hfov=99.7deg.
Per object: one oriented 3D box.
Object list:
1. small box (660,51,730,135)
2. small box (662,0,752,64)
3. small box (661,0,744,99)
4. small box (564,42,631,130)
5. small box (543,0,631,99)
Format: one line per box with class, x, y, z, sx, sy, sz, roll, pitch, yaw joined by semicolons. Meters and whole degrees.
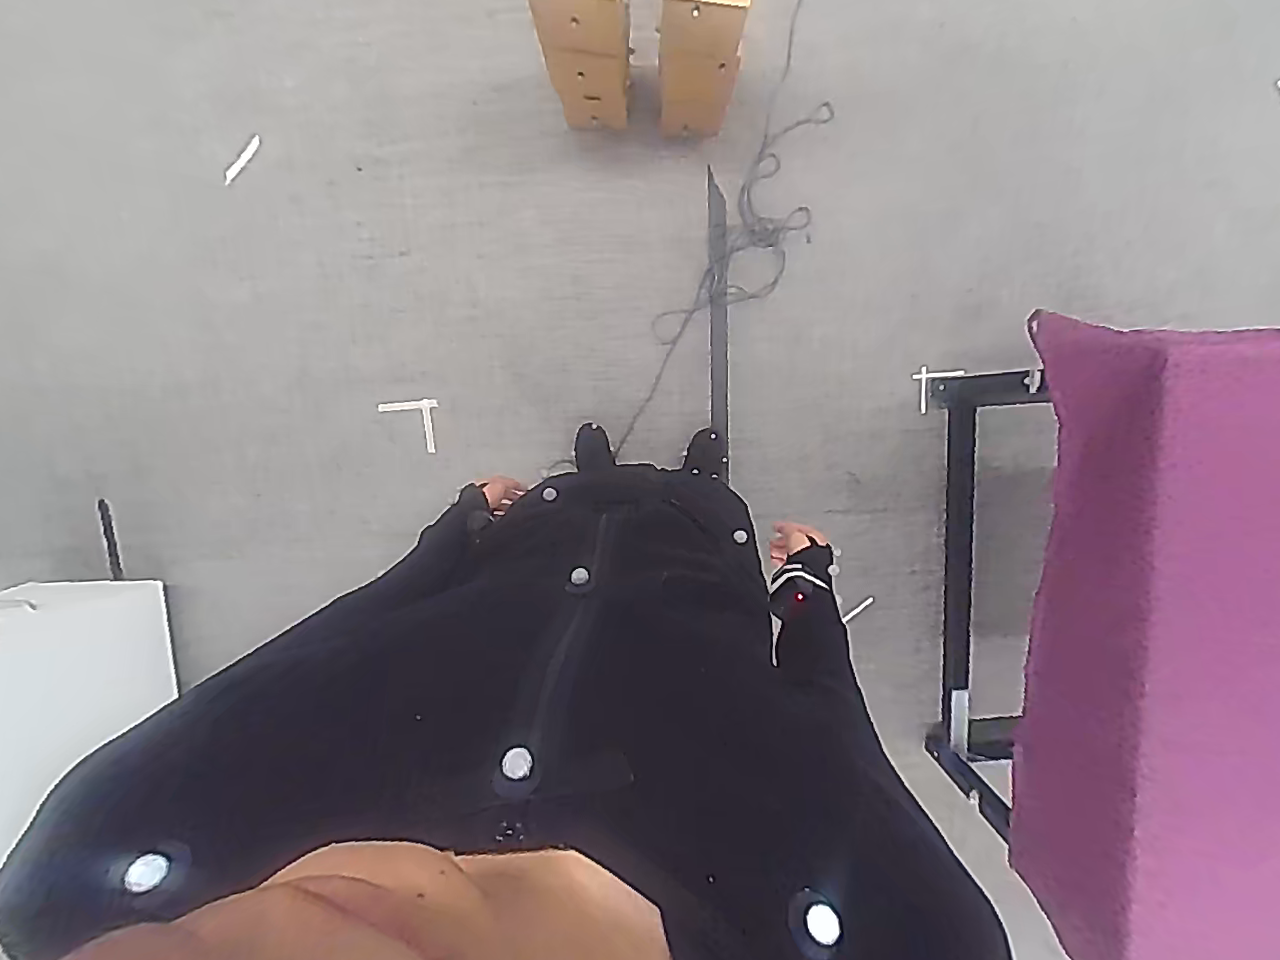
small box;0.137;-1.029;1.399;0.168;0.176;0.179;-2;98;0
small box;0.137;-0.984;1.076;0.168;0.176;0.179;7;96;-1
small box;0.138;-1.007;1.239;0.179;0.176;0.168;0;97;0
small box;-0.109;-1.043;1.393;0.168;0.176;0.179;3;98;0
small box;-0.114;-1.006;1.233;0.179;0.176;0.168;7;97;0
